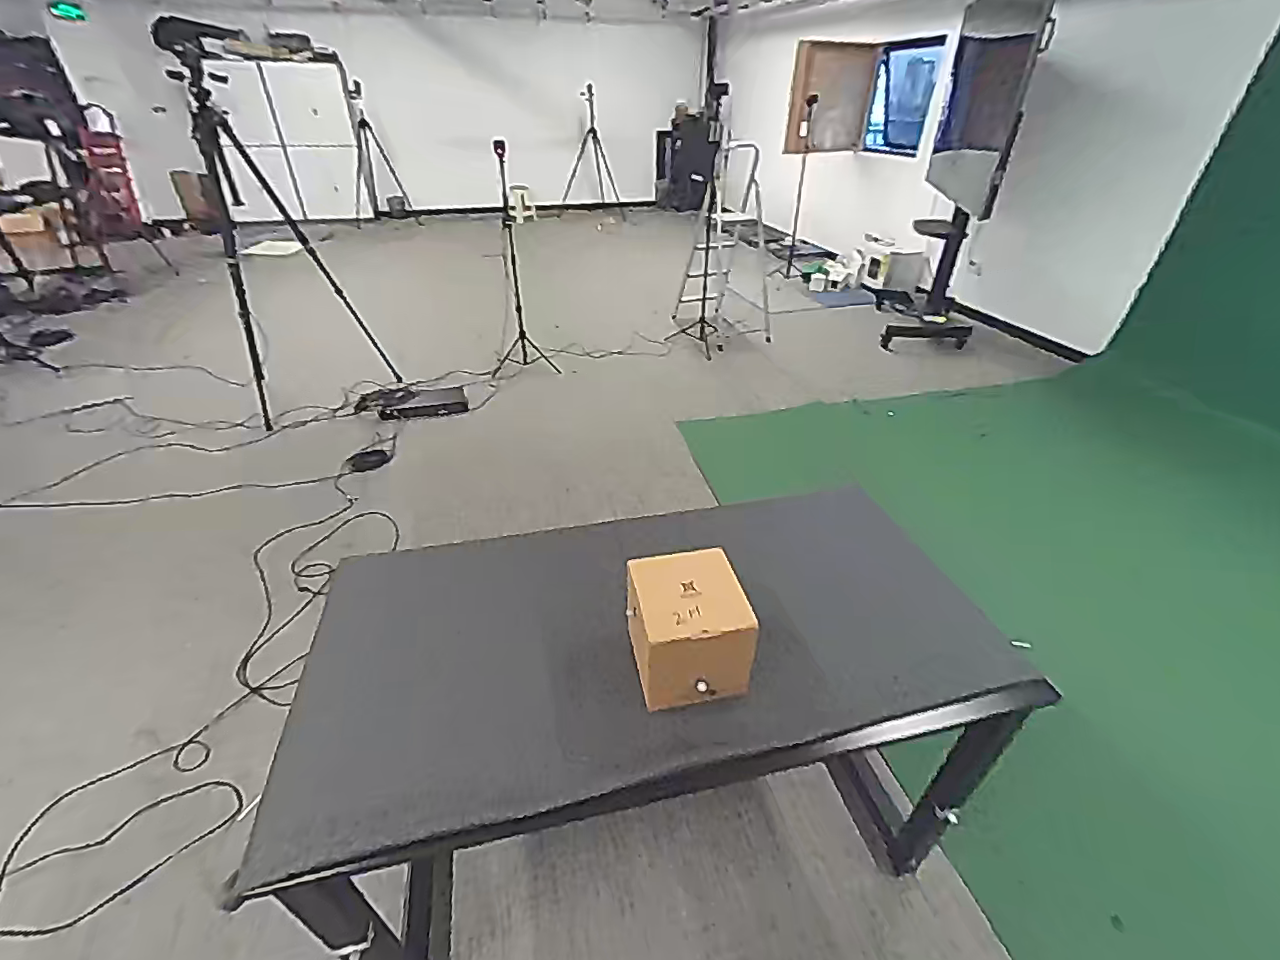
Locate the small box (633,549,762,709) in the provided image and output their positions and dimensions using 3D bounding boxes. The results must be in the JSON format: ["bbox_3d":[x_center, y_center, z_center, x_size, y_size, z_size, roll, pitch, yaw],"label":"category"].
[{"bbox_3d":[0.082,0.239,0.884,0.168,0.176,0.179,-7,35,-9],"label":"small box"}]
